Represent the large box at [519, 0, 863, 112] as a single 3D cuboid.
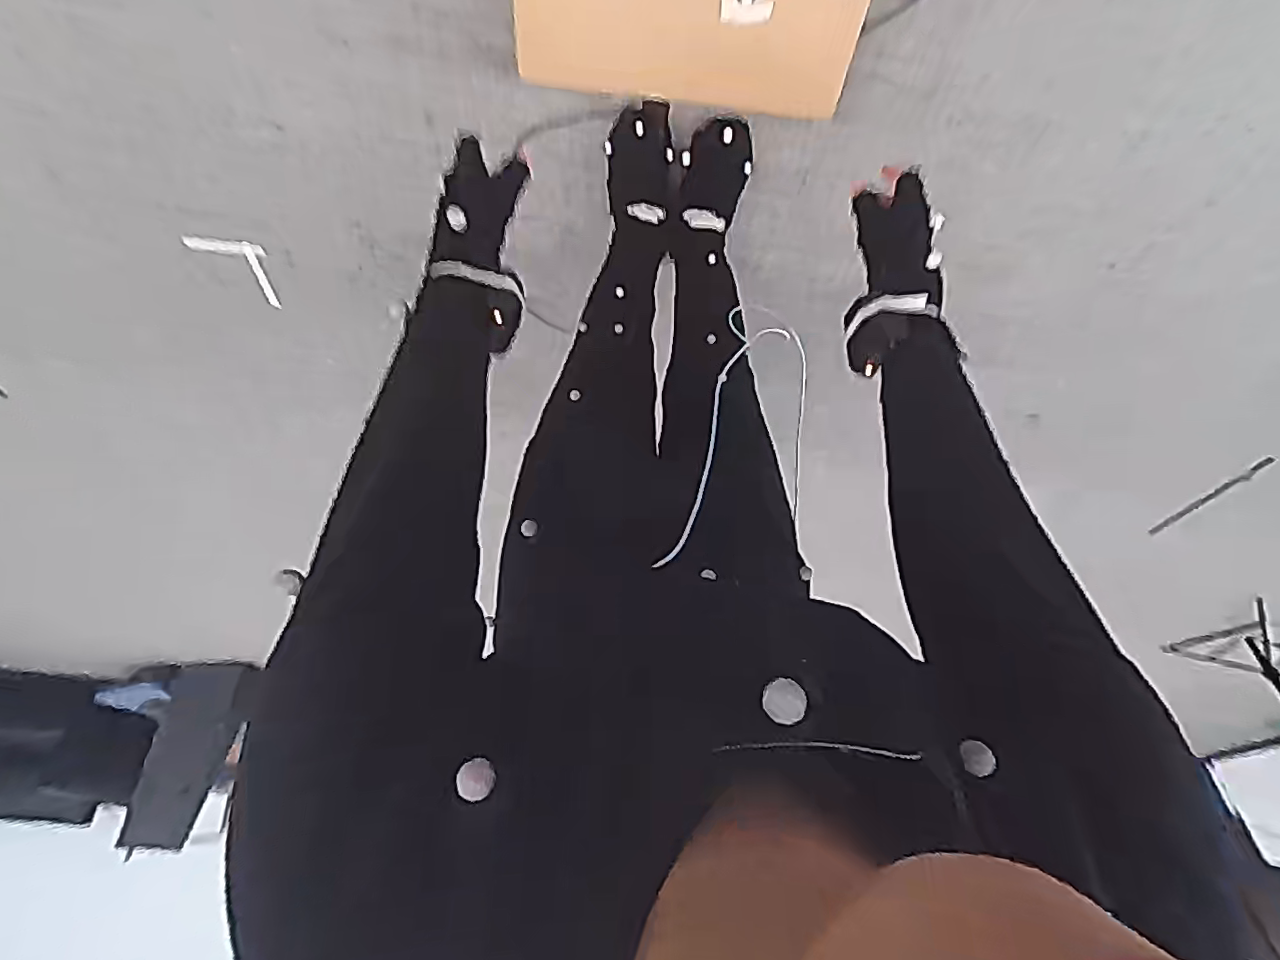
[{"bbox_3d":[0.068,-0.705,0.672,0.408,0.320,0.320,6,142,-2],"label":"large box"}]
